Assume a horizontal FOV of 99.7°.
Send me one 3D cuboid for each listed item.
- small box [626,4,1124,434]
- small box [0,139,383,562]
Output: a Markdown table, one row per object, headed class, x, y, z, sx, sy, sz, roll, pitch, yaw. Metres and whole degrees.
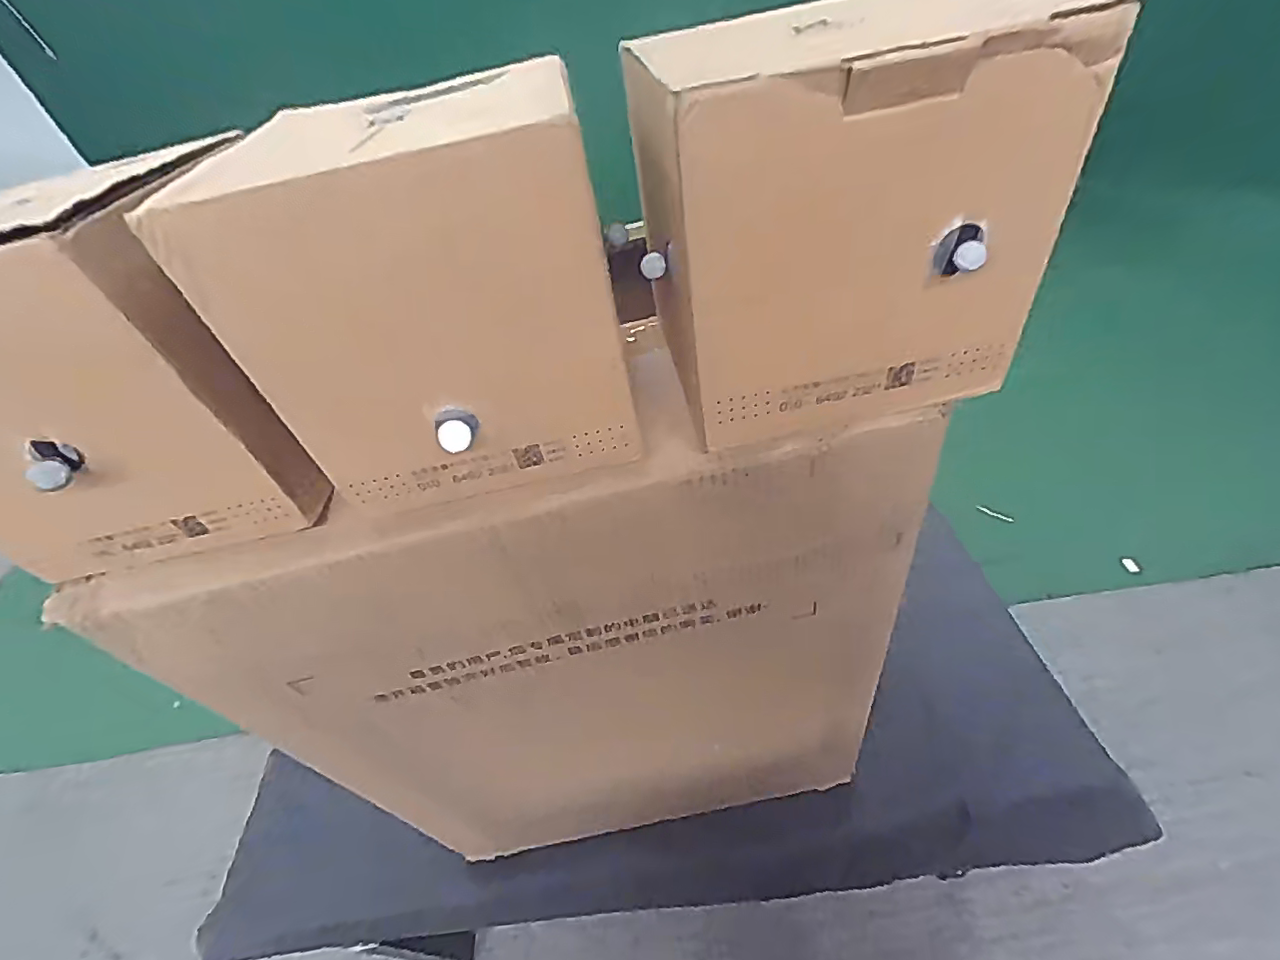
| class | x | y | z | sx | sy | sz | roll | pitch | yaw |
| --- | --- | --- | --- | --- | --- | --- | --- | --- | --- |
| small box | 0.093 | -0.141 | 0.306 | 0.168 | 0.176 | 0.179 | -11 | 43 | -2 |
| small box | -0.282 | -0.069 | 0.320 | 0.168 | 0.176 | 0.179 | -12 | 44 | 2 |
